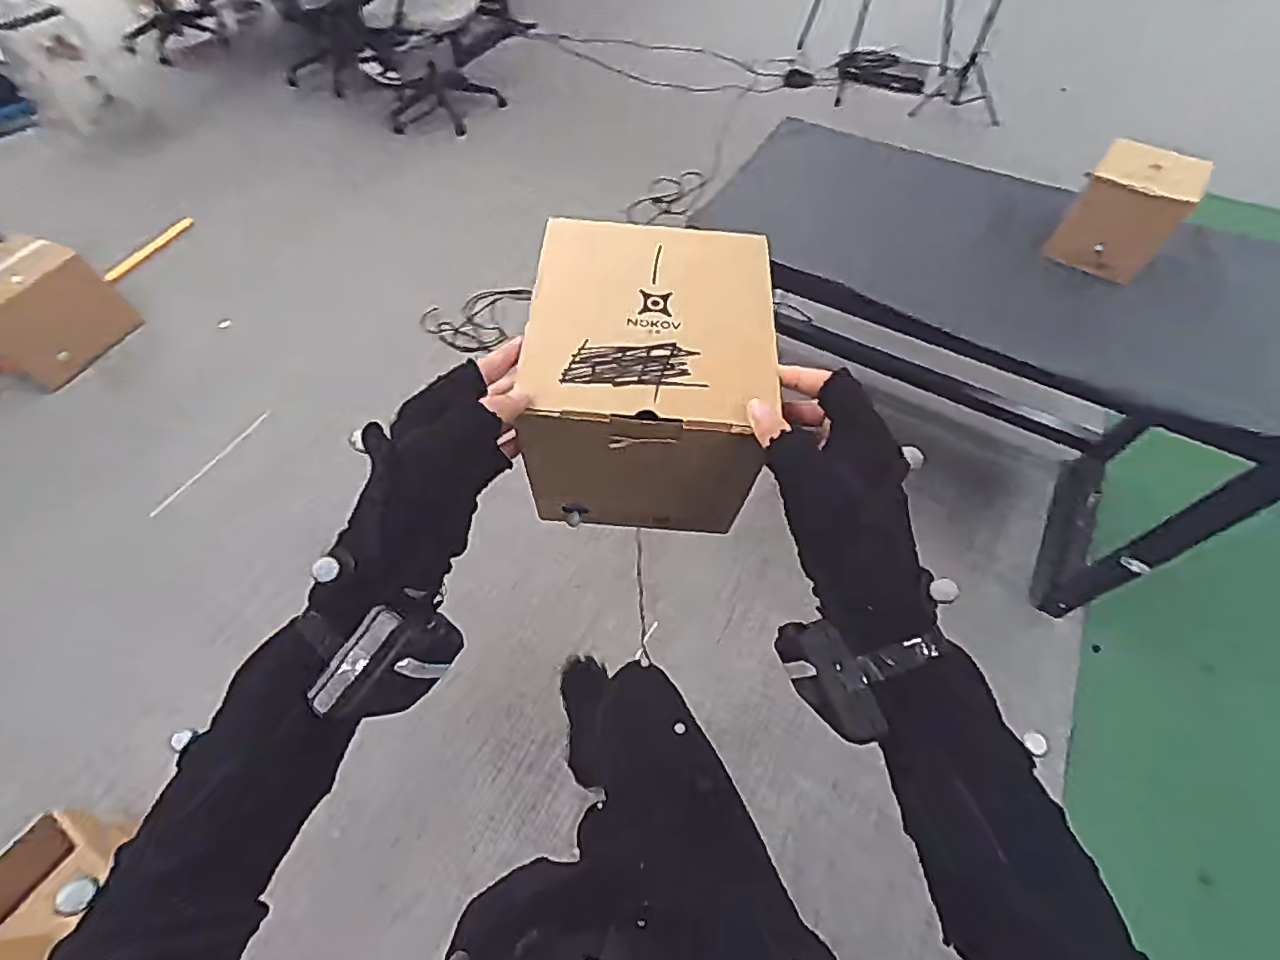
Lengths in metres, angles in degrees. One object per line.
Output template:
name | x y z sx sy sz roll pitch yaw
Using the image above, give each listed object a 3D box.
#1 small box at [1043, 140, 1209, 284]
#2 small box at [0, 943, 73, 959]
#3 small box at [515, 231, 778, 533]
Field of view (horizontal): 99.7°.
small box | 0.937 -0.520 1.056 0.168 0.176 0.179 33 64 21
small box | -1.153 0.978 0.955 0.168 0.176 0.179 27 62 19
small box | 0.008 -0.069 0.439 0.168 0.176 0.179 5 60 0
